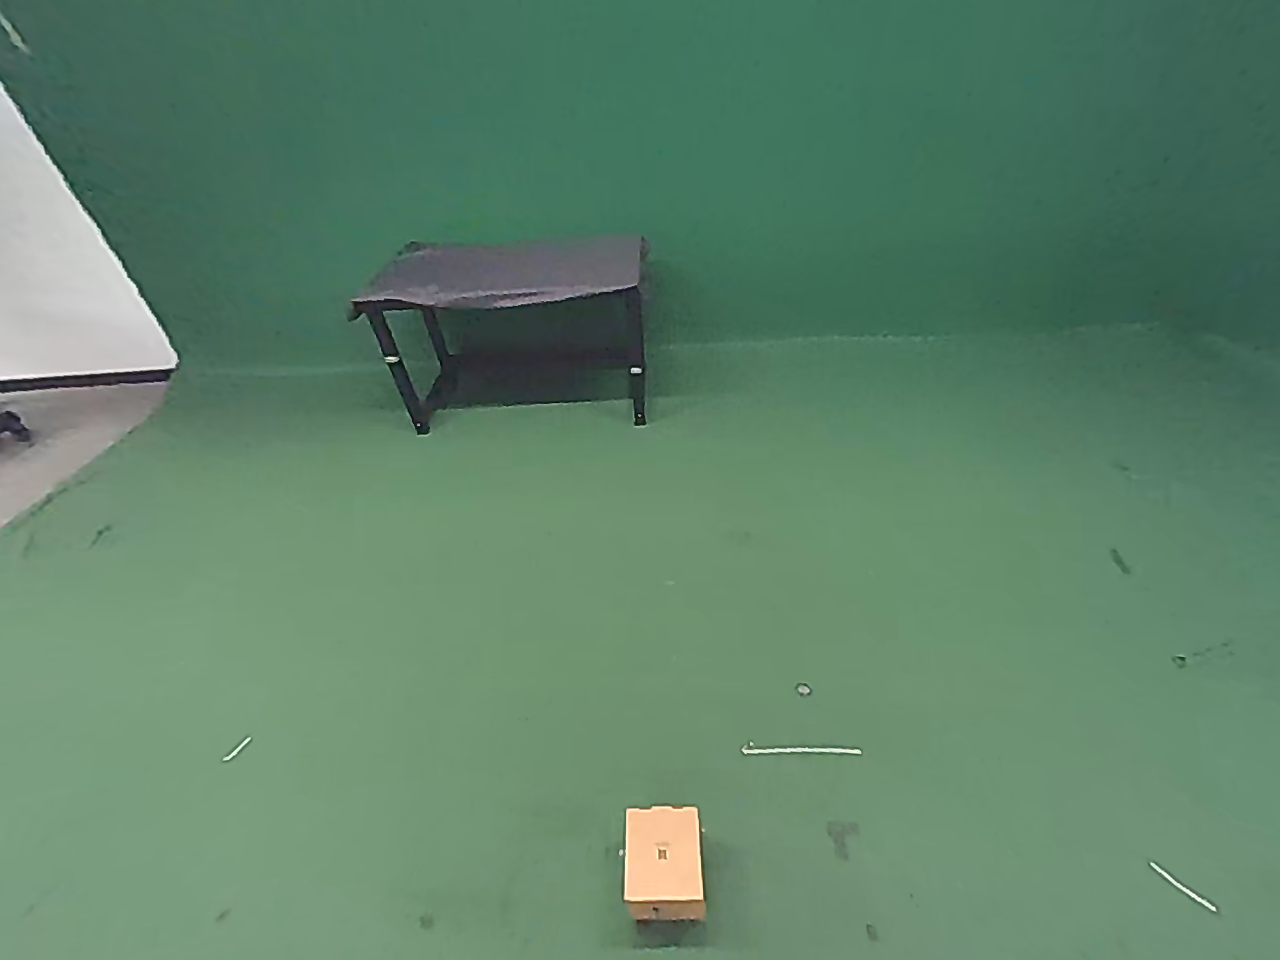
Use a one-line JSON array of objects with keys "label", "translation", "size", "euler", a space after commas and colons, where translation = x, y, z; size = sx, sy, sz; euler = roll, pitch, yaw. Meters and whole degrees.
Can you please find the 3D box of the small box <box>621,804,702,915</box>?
[{"label": "small box", "translation": [0.051, 0.860, 1.221], "size": [0.168, 0.176, 0.179], "euler": [-3, 39, 3]}]
